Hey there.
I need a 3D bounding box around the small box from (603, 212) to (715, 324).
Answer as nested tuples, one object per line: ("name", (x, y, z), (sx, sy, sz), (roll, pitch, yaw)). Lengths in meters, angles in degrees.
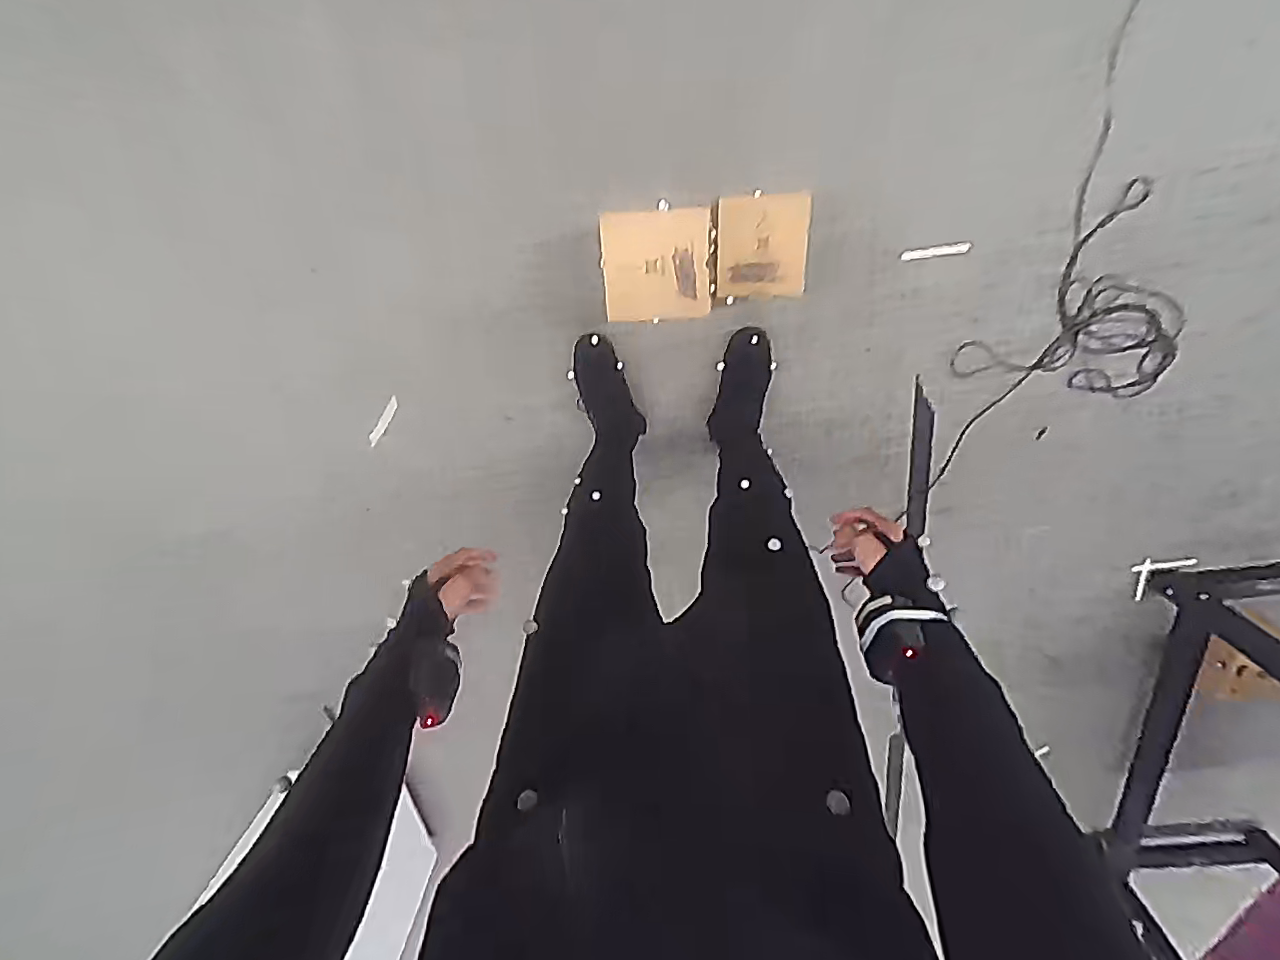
("small box", (0.037, -0.371, 0.938), (0.179, 0.176, 0.168), (-1, 114, 5))
